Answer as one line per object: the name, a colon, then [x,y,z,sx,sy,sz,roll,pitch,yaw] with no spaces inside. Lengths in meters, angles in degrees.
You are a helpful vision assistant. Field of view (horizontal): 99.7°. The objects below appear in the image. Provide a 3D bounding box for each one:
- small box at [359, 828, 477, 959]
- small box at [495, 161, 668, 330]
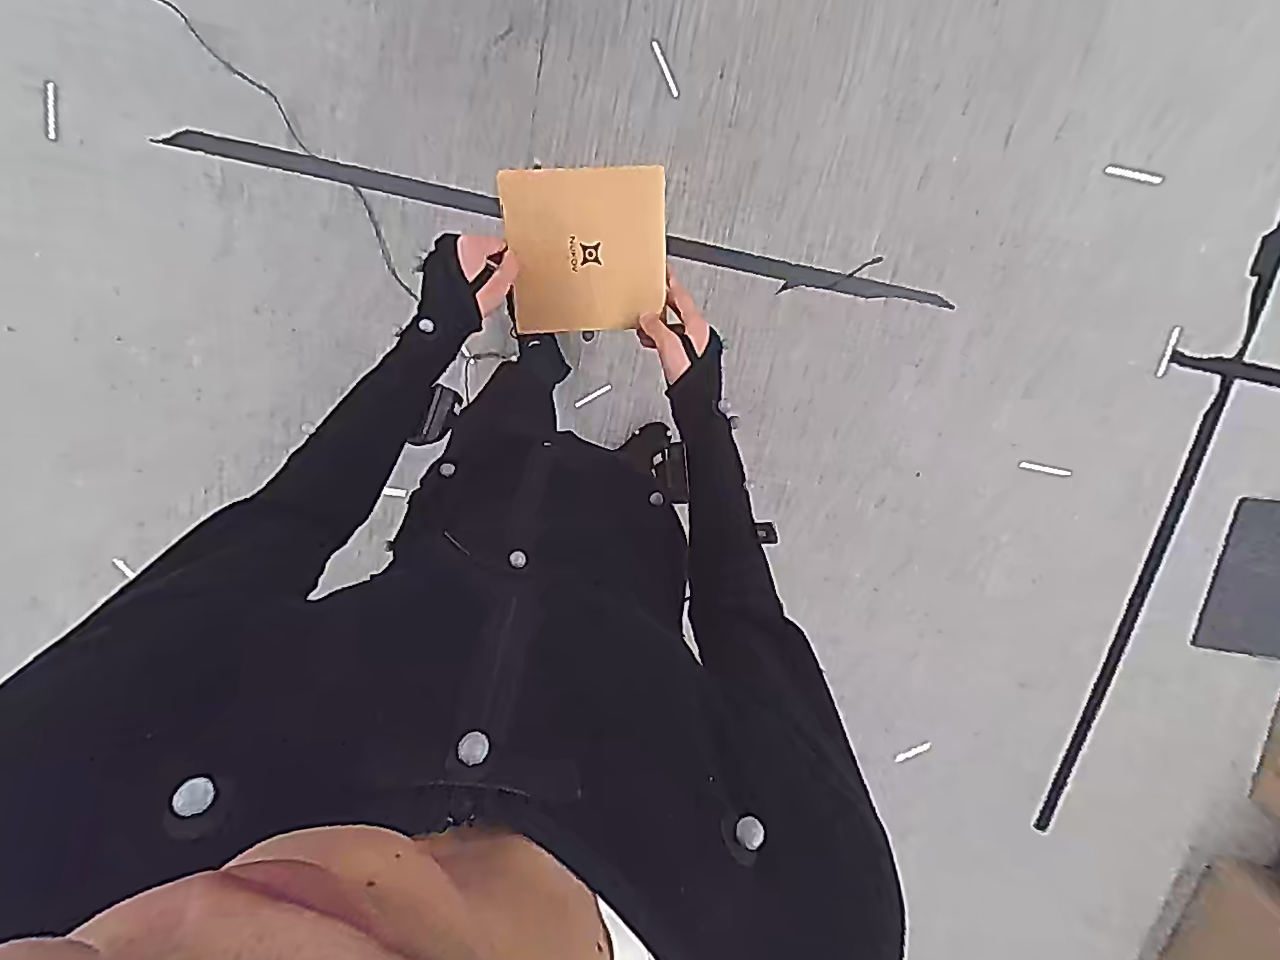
small box: [-0.469,0.903,1.163,0.168,0.176,0.179,17,103,-1]
small box: [-0.060,-0.284,0.656,0.179,0.176,0.168,-3,115,1]
